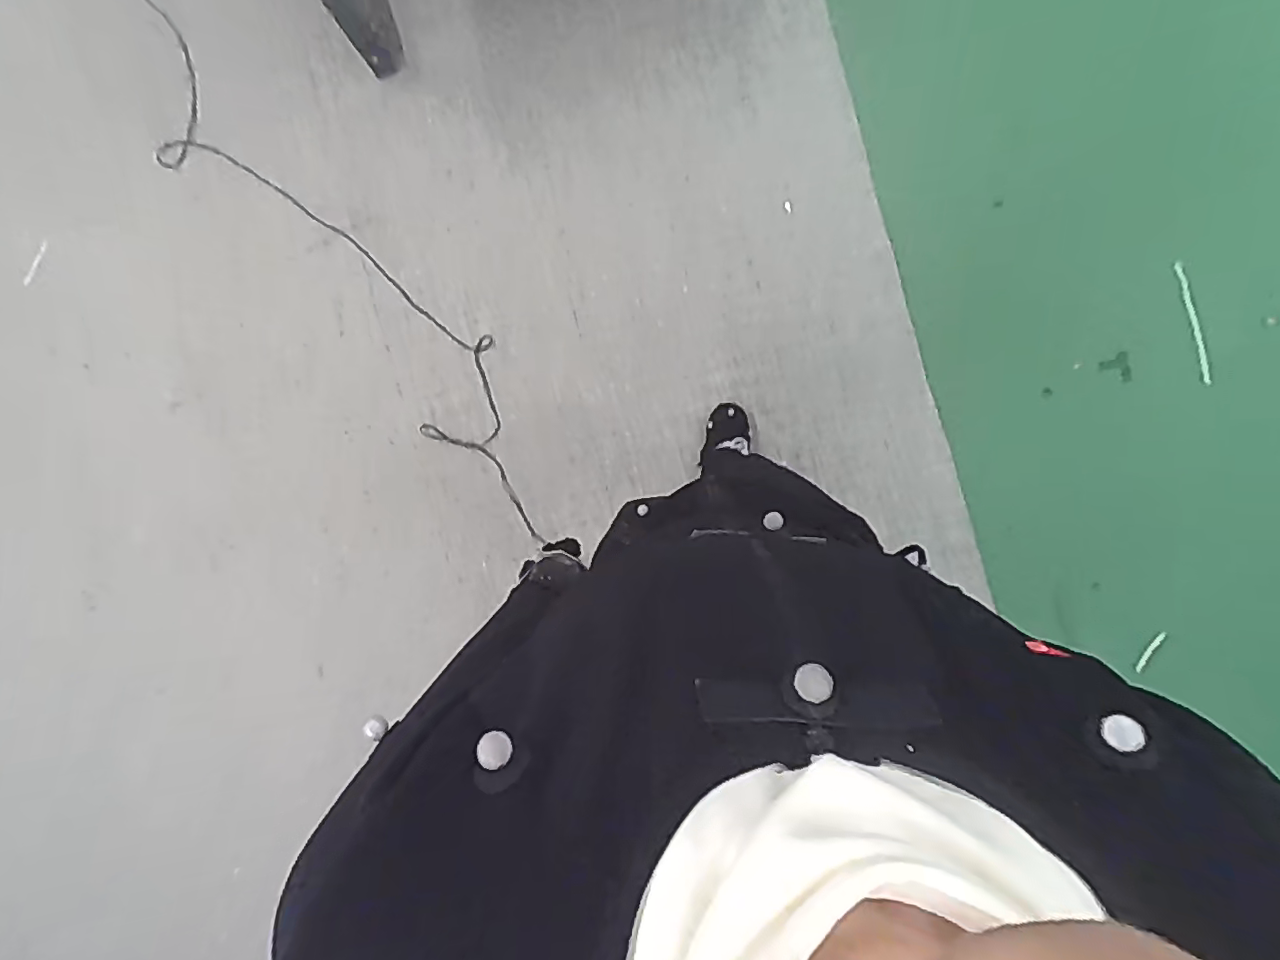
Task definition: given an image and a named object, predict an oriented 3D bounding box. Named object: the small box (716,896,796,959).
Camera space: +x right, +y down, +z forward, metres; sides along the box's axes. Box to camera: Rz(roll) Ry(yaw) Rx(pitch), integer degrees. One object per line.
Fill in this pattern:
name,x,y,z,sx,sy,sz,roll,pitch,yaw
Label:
small box,0.291,1.162,1.316,0.168,0.176,0.179,-18,90,4
